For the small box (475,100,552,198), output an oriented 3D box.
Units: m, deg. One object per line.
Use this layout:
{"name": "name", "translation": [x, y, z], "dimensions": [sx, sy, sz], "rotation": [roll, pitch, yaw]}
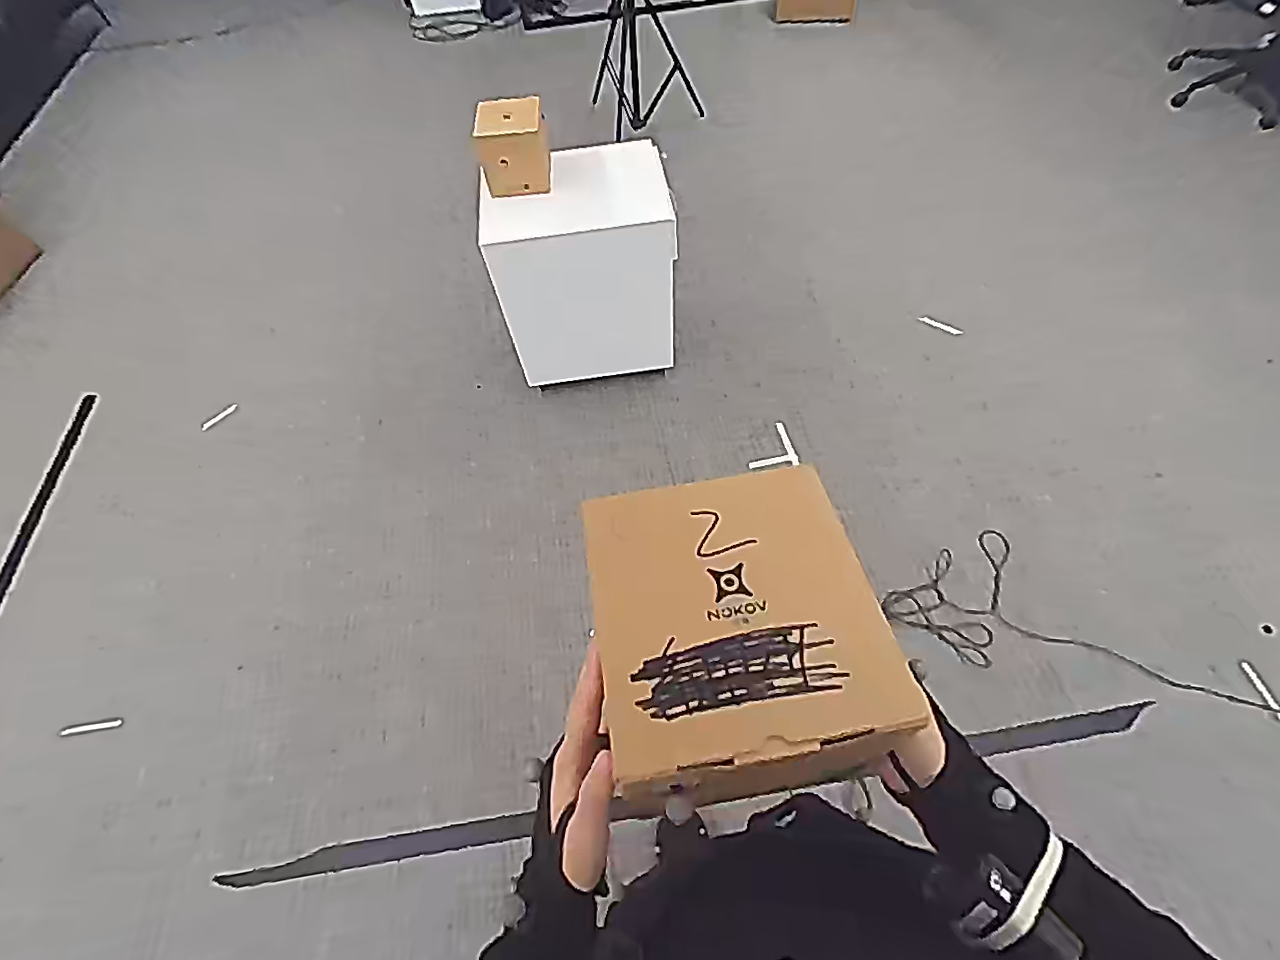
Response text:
{"name": "small box", "translation": [-0.335, -0.889, 1.466], "dimensions": [0.168, 0.176, 0.179], "rotation": [-5, 59, 0]}
